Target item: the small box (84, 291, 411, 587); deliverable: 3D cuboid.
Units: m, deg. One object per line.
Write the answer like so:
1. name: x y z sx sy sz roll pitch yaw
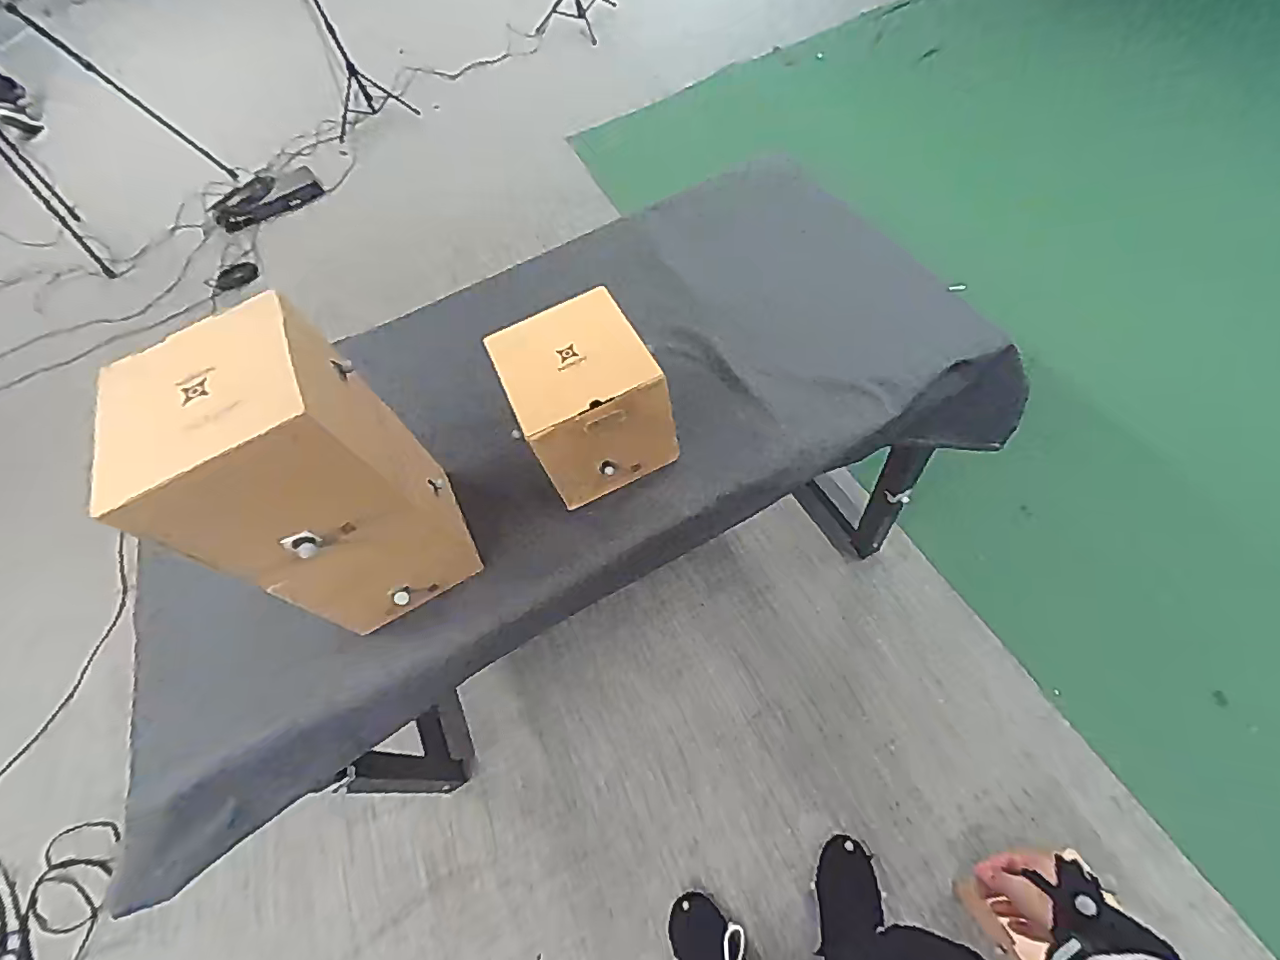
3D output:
1. small box: -0.345 -0.031 0.500 0.168 0.176 0.179 -30 60 -7

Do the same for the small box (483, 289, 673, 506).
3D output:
1. small box: -0.072 -0.099 0.684 0.168 0.176 0.179 -26 59 -6

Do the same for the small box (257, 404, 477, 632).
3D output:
1. small box: -0.320 0.051 0.638 0.168 0.176 0.179 -29 60 -7

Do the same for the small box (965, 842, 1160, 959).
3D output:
1. small box: 0.682 0.740 0.906 0.179 0.176 0.168 -28 59 -5
